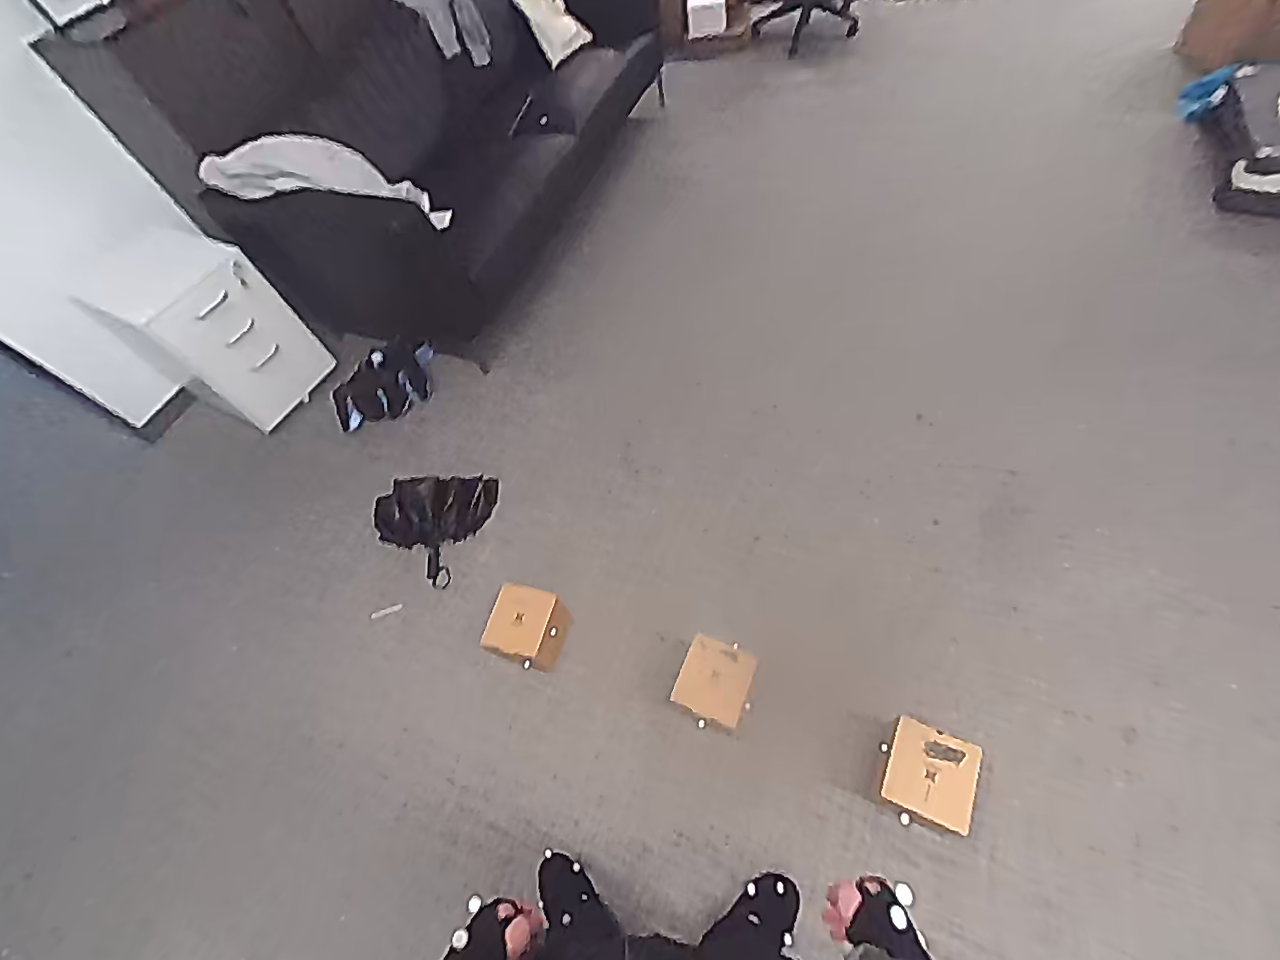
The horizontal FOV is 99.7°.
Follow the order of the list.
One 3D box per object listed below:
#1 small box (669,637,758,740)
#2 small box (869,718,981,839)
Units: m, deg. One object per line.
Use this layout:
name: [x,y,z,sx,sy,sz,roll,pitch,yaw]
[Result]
small box: [0.191,0.528,1.358,0.168,0.176,0.179,18,63,21]
small box: [0.619,0.655,1.190,0.168,0.176,0.179,17,64,22]
